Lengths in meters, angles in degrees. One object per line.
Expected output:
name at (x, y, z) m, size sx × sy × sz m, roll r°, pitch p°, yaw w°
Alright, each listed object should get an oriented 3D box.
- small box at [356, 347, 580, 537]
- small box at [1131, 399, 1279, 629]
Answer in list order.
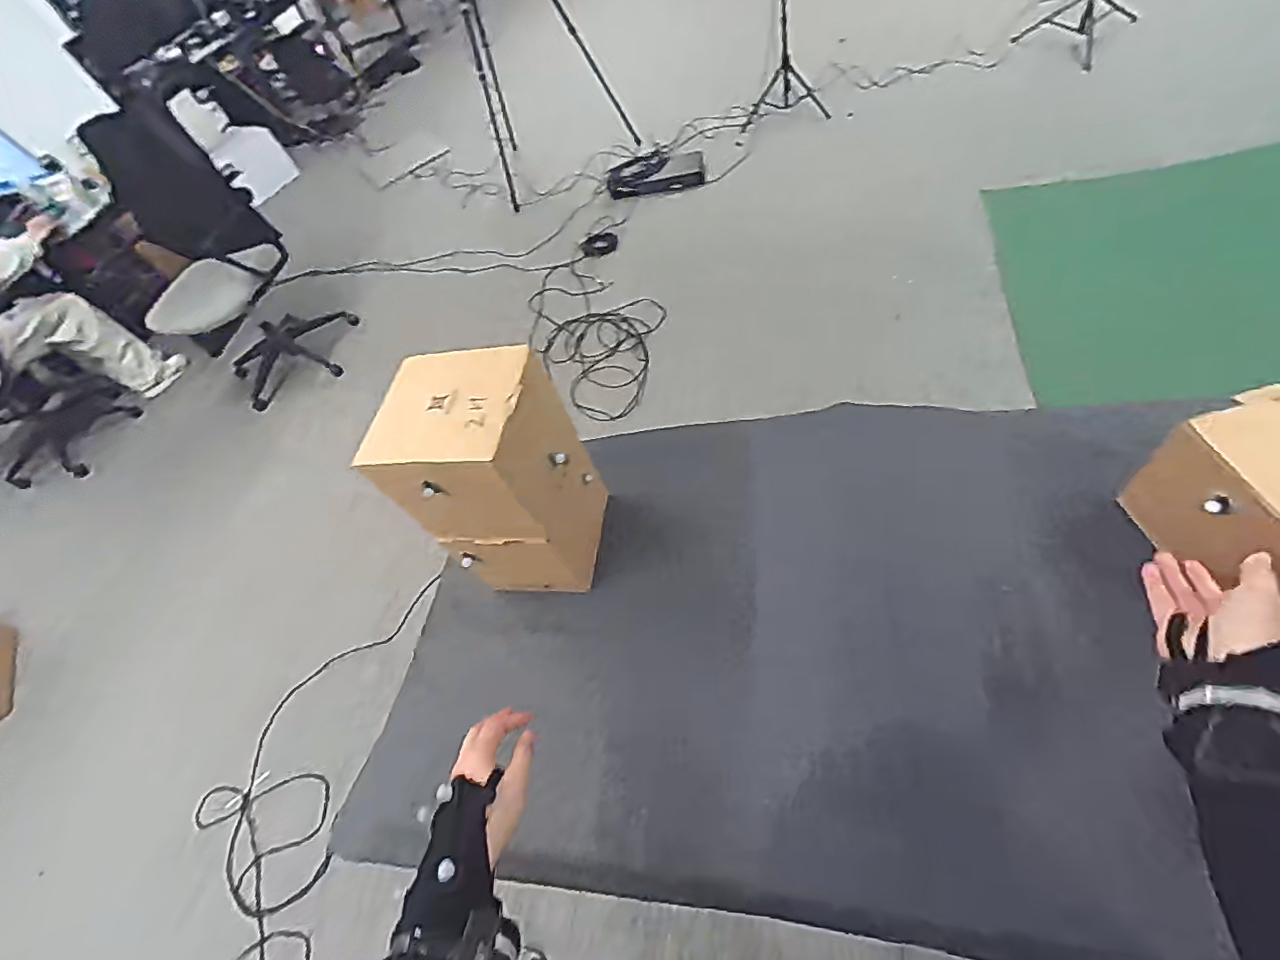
small box at (-0.194, -0.039, 0.665) m, size 0.179 × 0.176 × 0.168 m, roll -1°, pitch 57°, yaw 16°
small box at (0.671, 0.030, 0.553) m, size 0.168 × 0.176 × 0.179 m, roll -18°, pitch 55°, yaw 9°
